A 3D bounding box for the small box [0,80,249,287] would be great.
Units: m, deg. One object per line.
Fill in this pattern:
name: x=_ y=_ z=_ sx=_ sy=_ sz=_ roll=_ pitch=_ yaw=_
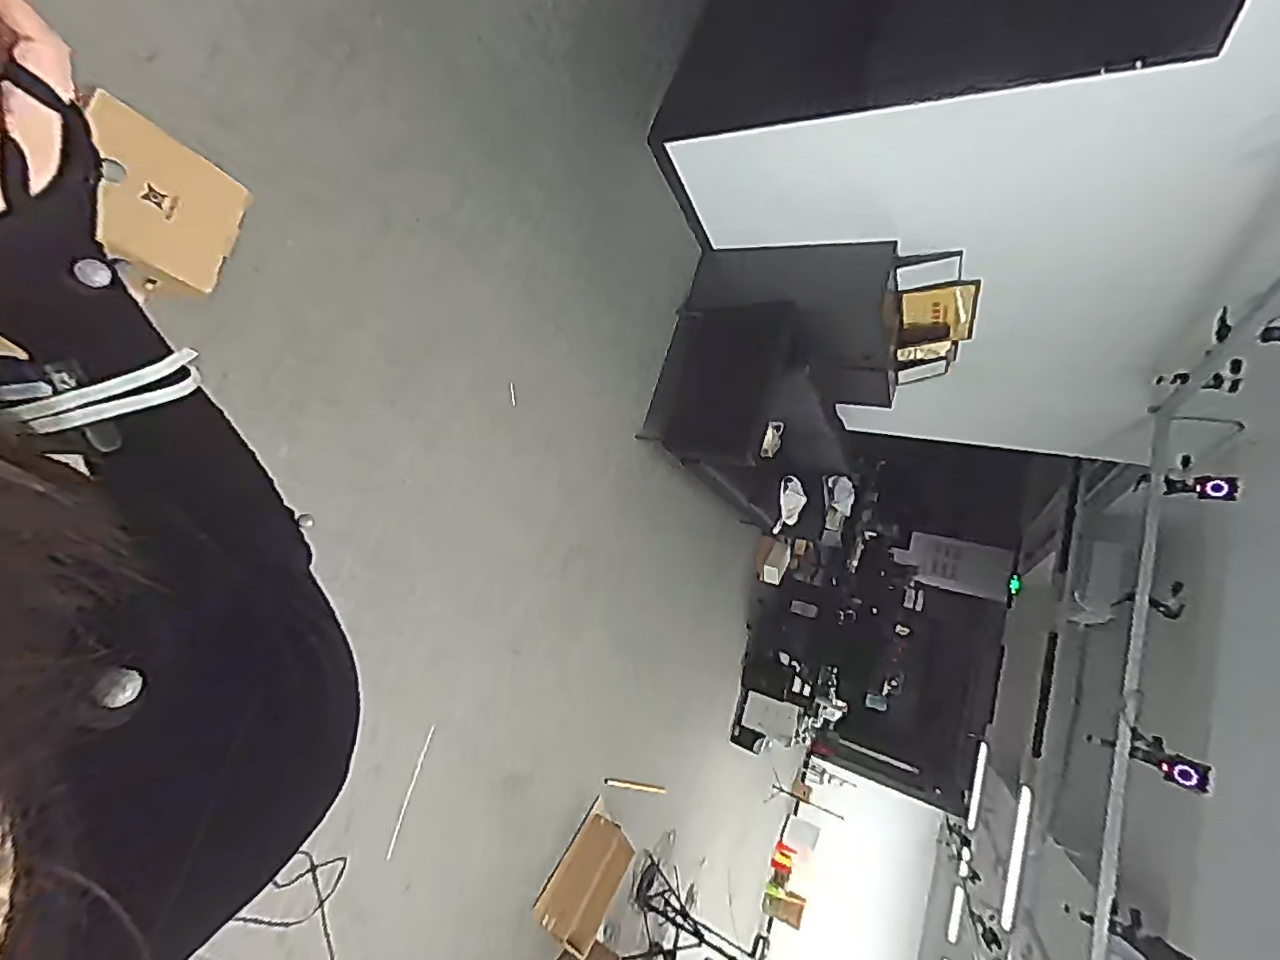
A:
small box: x=-0.683 y=-0.379 z=0.722 sx=0.179 sy=0.176 sz=0.168 roll=32 pitch=71 yaw=-58
